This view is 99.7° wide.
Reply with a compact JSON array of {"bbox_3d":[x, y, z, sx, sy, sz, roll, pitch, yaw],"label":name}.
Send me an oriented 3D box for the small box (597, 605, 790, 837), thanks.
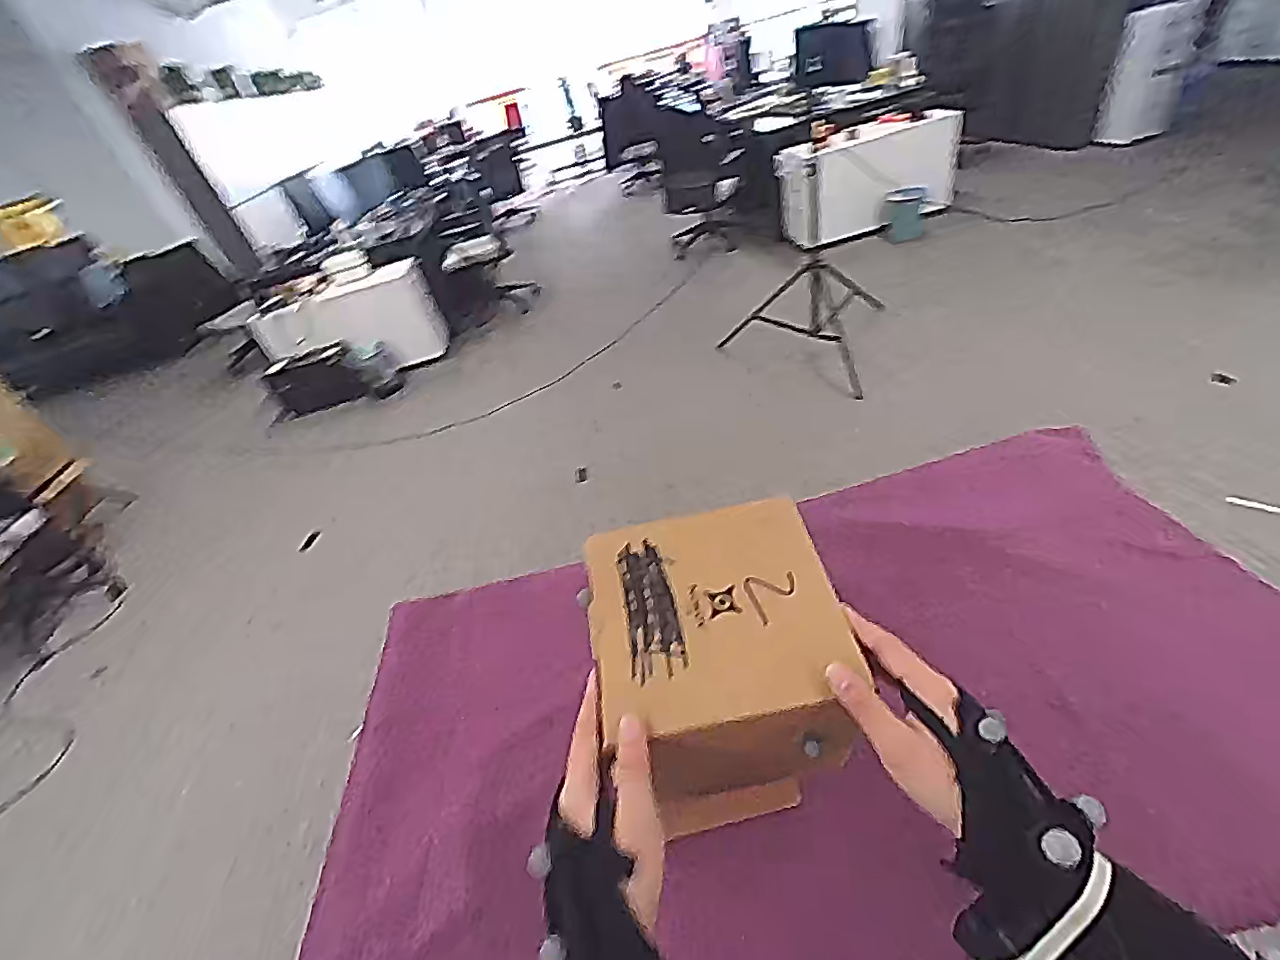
[{"bbox_3d":[0.061,0.281,0.628,0.179,0.176,0.168,-16,38,0],"label":"small box"}]
